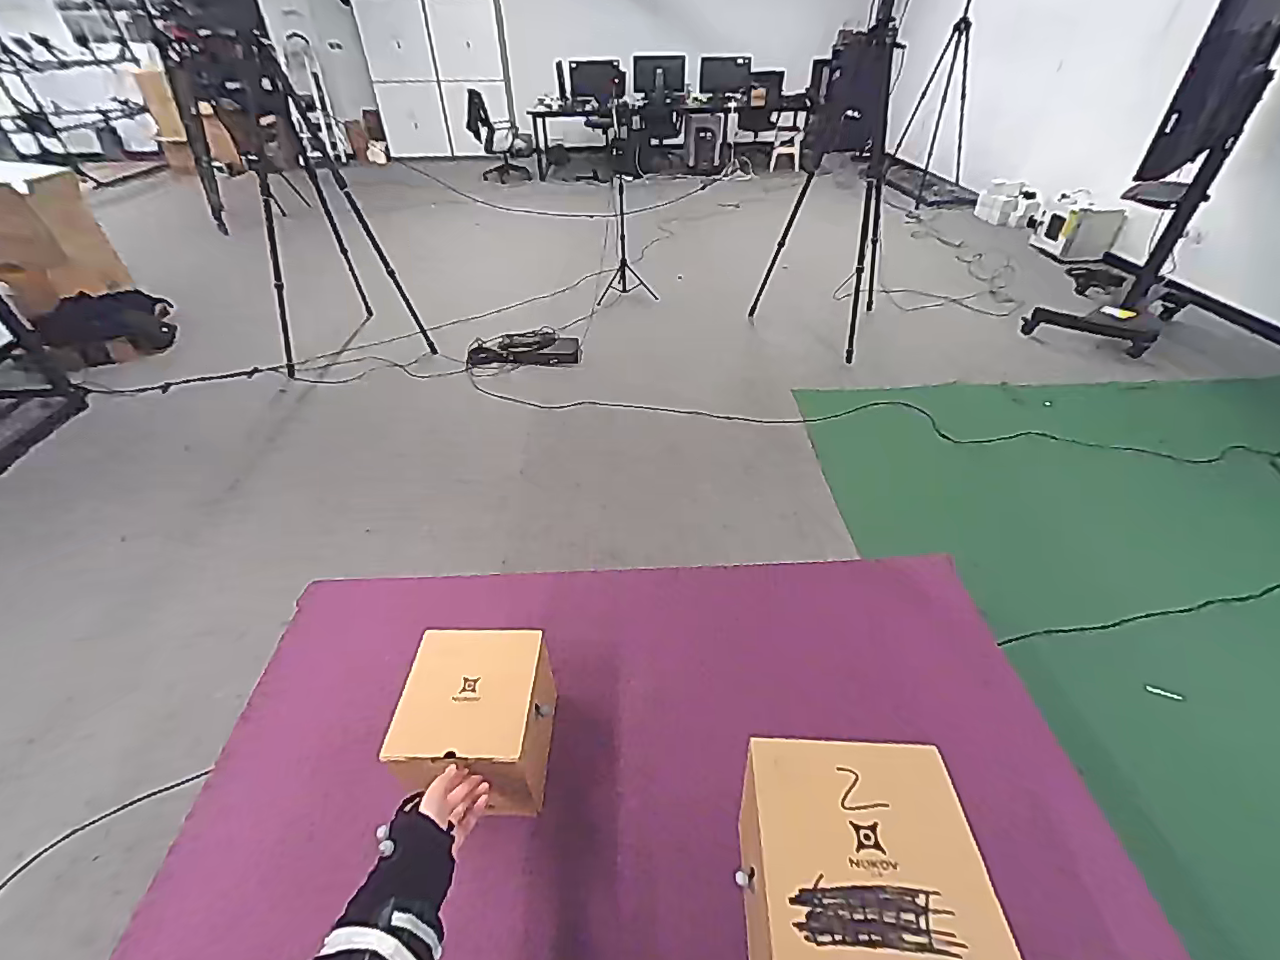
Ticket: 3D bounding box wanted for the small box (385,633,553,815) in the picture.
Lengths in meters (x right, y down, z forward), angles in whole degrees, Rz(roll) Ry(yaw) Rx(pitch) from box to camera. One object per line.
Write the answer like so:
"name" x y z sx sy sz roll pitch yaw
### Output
"small box" -0.218 0.334 0.749 0.168 0.176 0.179 0 41 1
